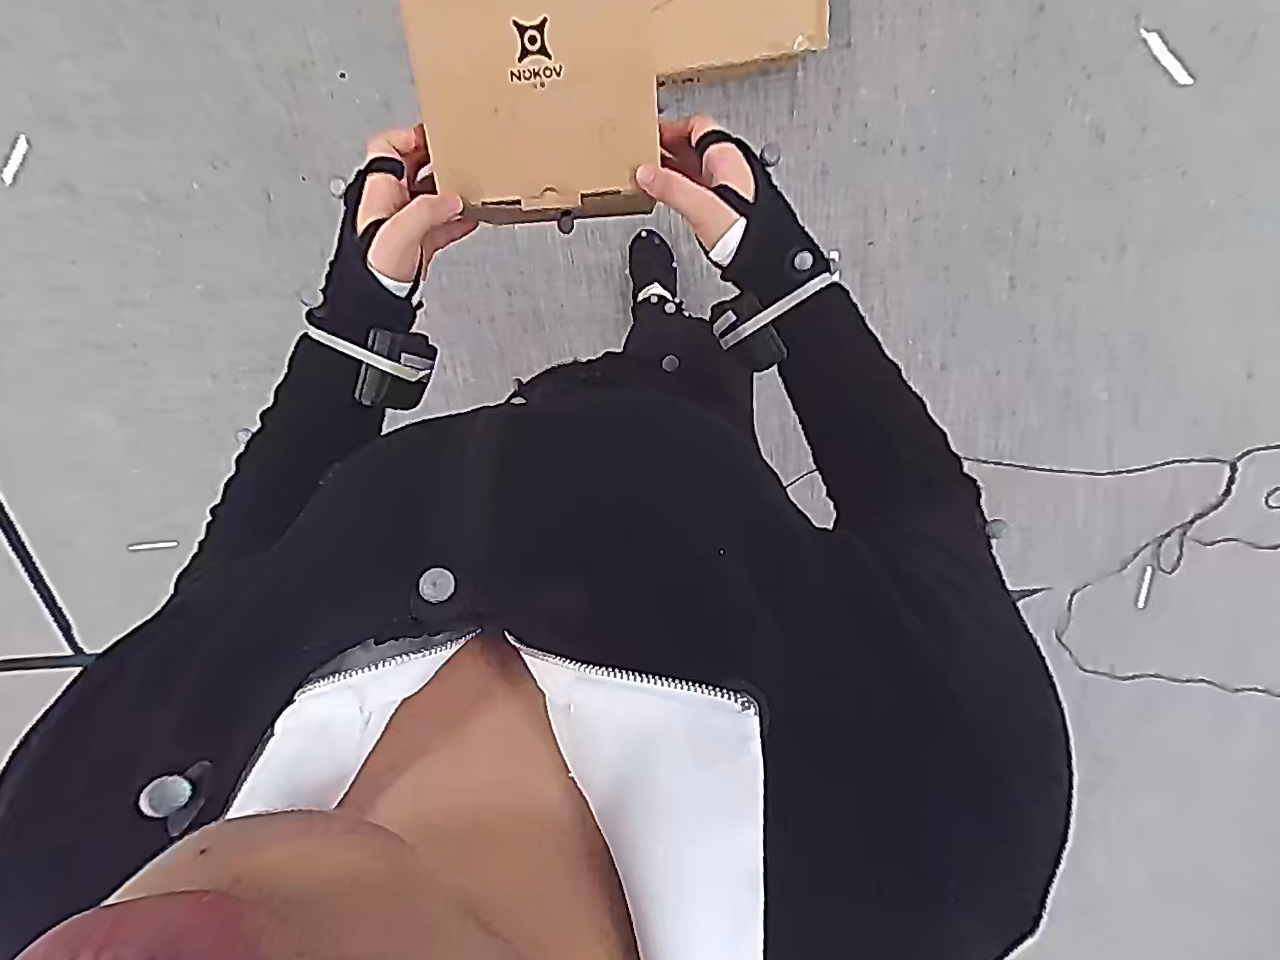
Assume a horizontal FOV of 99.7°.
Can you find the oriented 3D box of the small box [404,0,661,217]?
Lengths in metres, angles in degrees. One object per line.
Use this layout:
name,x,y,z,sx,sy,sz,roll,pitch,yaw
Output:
small box,-0.070,-0.317,0.440,0.168,0.176,0.179,-5,112,1
